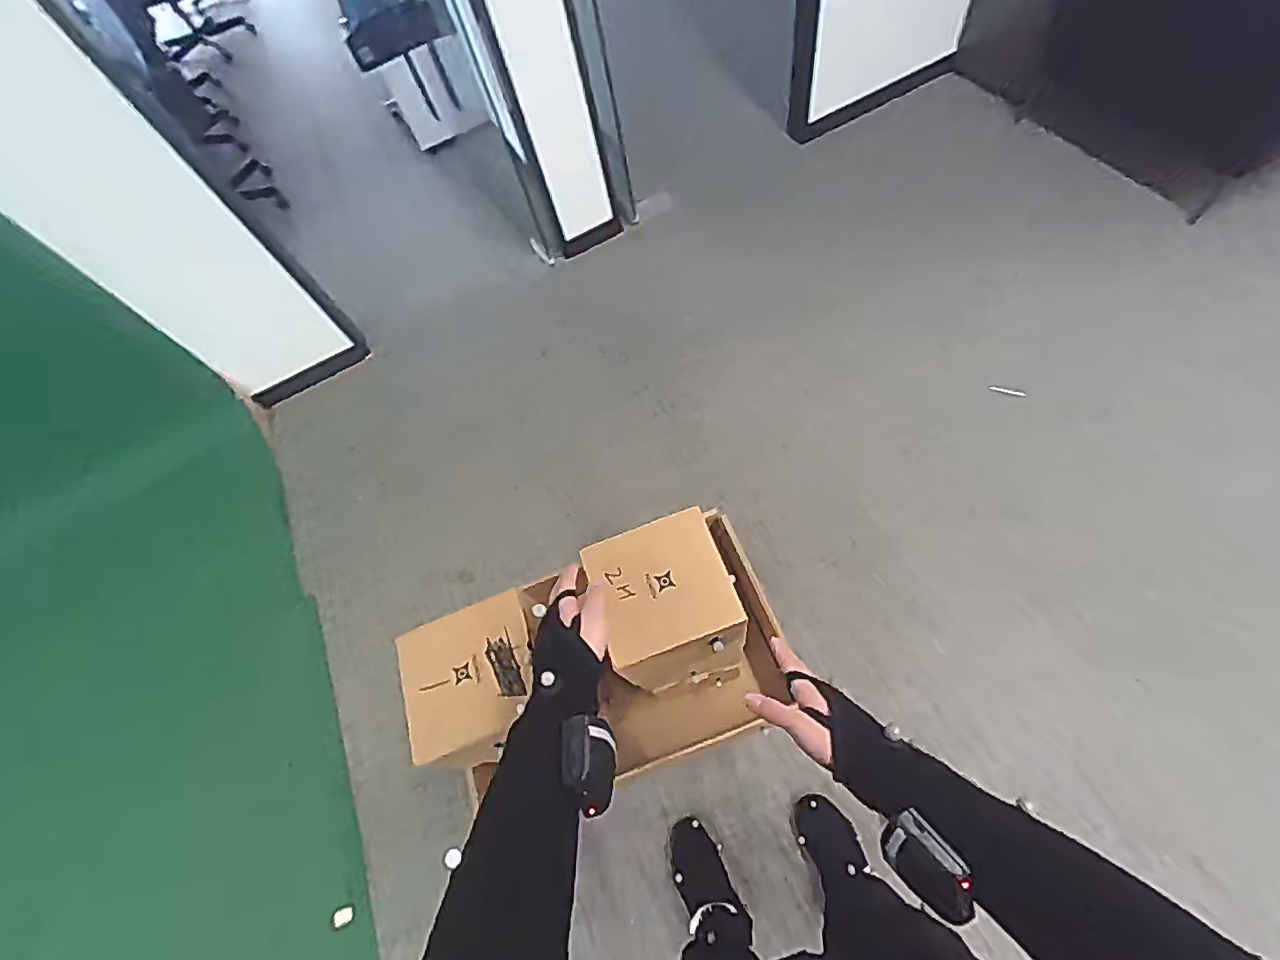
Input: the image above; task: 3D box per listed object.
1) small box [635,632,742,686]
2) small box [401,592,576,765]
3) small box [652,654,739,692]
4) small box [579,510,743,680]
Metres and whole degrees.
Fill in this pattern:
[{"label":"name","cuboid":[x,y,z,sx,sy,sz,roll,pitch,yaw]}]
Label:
[{"label":"small box","cuboid":[0.061,0.237,0.916,0.179,0.176,0.168,-18,62,1]},{"label":"small box","cuboid":[-0.202,0.282,0.763,0.179,0.176,0.168,-23,62,0]},{"label":"small box","cuboid":[0.092,0.307,1.060,0.168,0.176,0.179,-18,62,2]},{"label":"small box","cuboid":[0.034,0.169,0.767,0.179,0.176,0.168,-21,62,1]}]
